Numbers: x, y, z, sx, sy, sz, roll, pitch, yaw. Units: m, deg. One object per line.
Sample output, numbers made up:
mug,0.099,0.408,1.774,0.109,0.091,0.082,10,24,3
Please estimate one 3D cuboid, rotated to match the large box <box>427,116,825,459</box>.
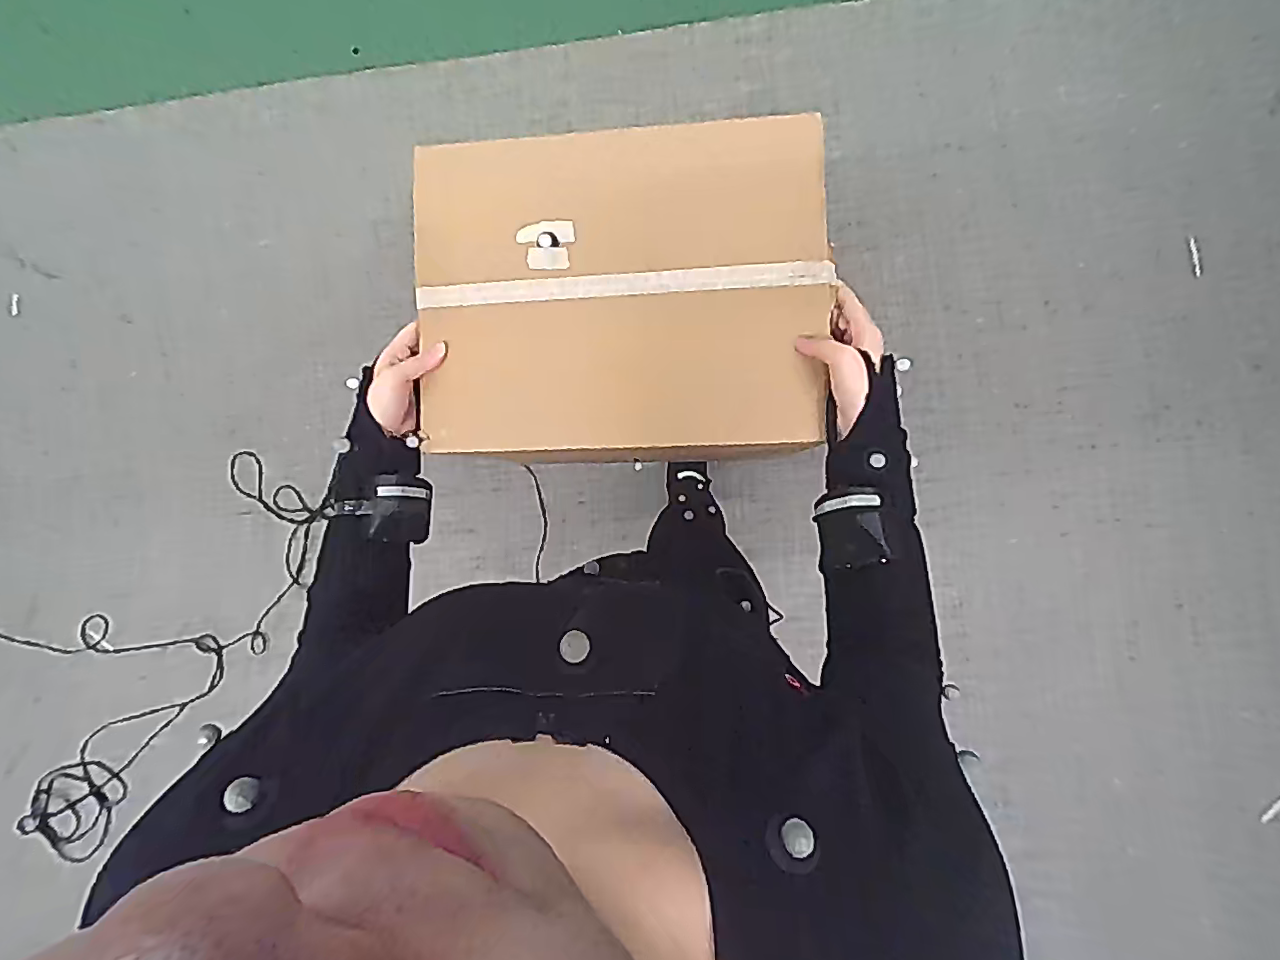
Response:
large box,-0.004,-0.192,0.692,0.408,0.320,0.320,-2,89,7
